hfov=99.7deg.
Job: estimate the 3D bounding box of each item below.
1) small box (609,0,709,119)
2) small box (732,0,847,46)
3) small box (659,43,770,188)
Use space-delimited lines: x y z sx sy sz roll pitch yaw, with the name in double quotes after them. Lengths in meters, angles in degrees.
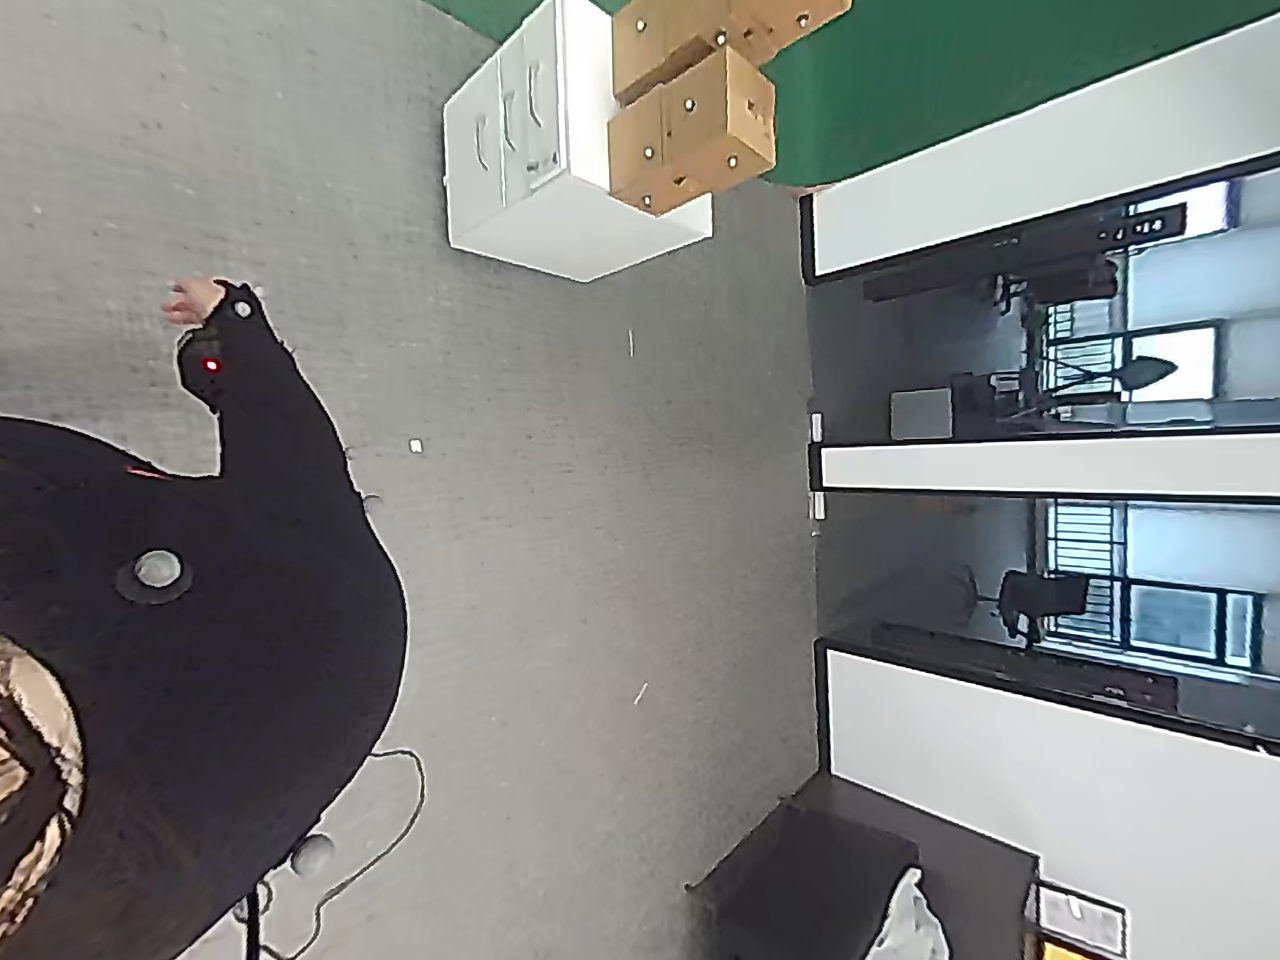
0.041 -0.978 1.238 0.168 0.176 0.179 -6 97 -46 "small box"
0.271 -0.969 1.004 0.168 0.176 0.179 -4 95 -47 "small box"
0.153 -0.740 1.126 0.179 0.176 0.168 -3 94 -47 "small box"
